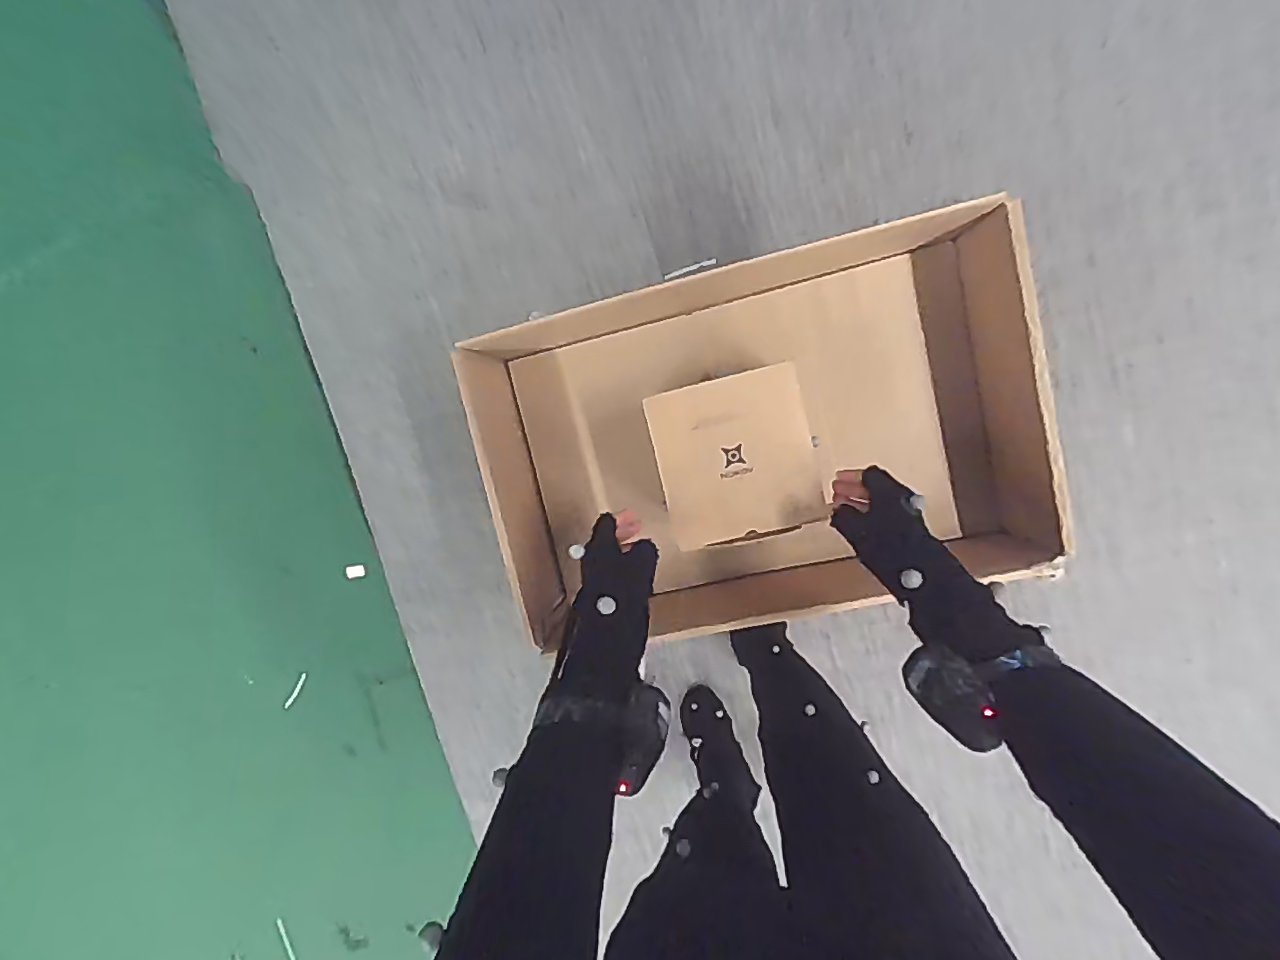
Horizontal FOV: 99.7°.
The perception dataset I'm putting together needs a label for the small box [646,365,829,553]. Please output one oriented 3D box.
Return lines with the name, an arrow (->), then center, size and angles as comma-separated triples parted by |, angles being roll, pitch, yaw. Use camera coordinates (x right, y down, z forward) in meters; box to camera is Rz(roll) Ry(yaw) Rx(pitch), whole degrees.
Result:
small box -> 0.114, -0.028, 0.657 | 0.168, 0.176, 0.179 | -14, 93, 8
